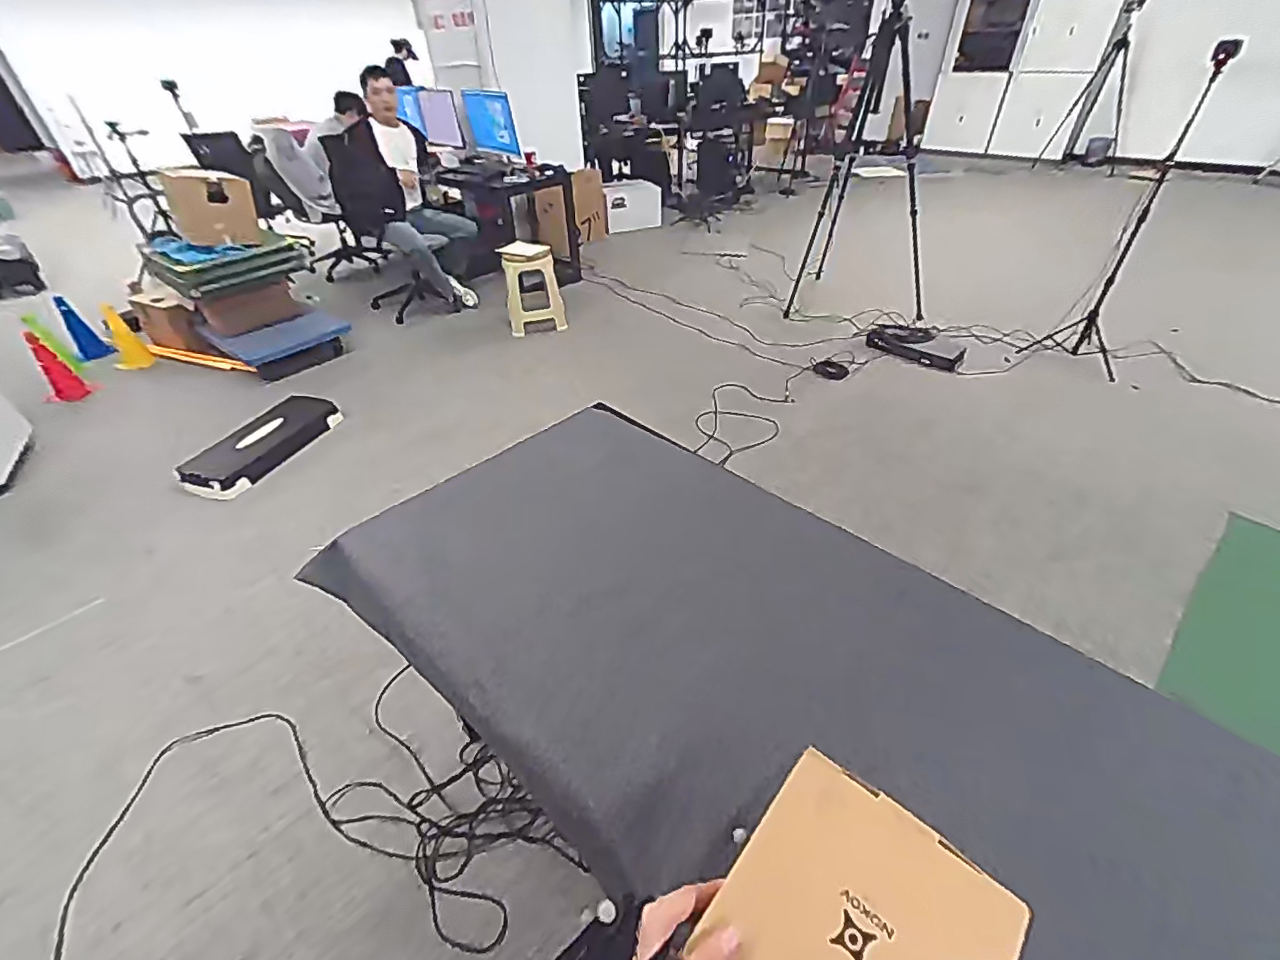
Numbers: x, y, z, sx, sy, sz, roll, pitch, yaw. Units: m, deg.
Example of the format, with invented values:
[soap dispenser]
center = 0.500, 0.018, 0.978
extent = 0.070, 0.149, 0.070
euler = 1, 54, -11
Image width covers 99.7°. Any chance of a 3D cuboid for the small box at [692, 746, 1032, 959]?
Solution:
[small box]
center = 0.154, 0.354, 0.416
extent = 0.168, 0.176, 0.179
euler = 28, 56, 30
